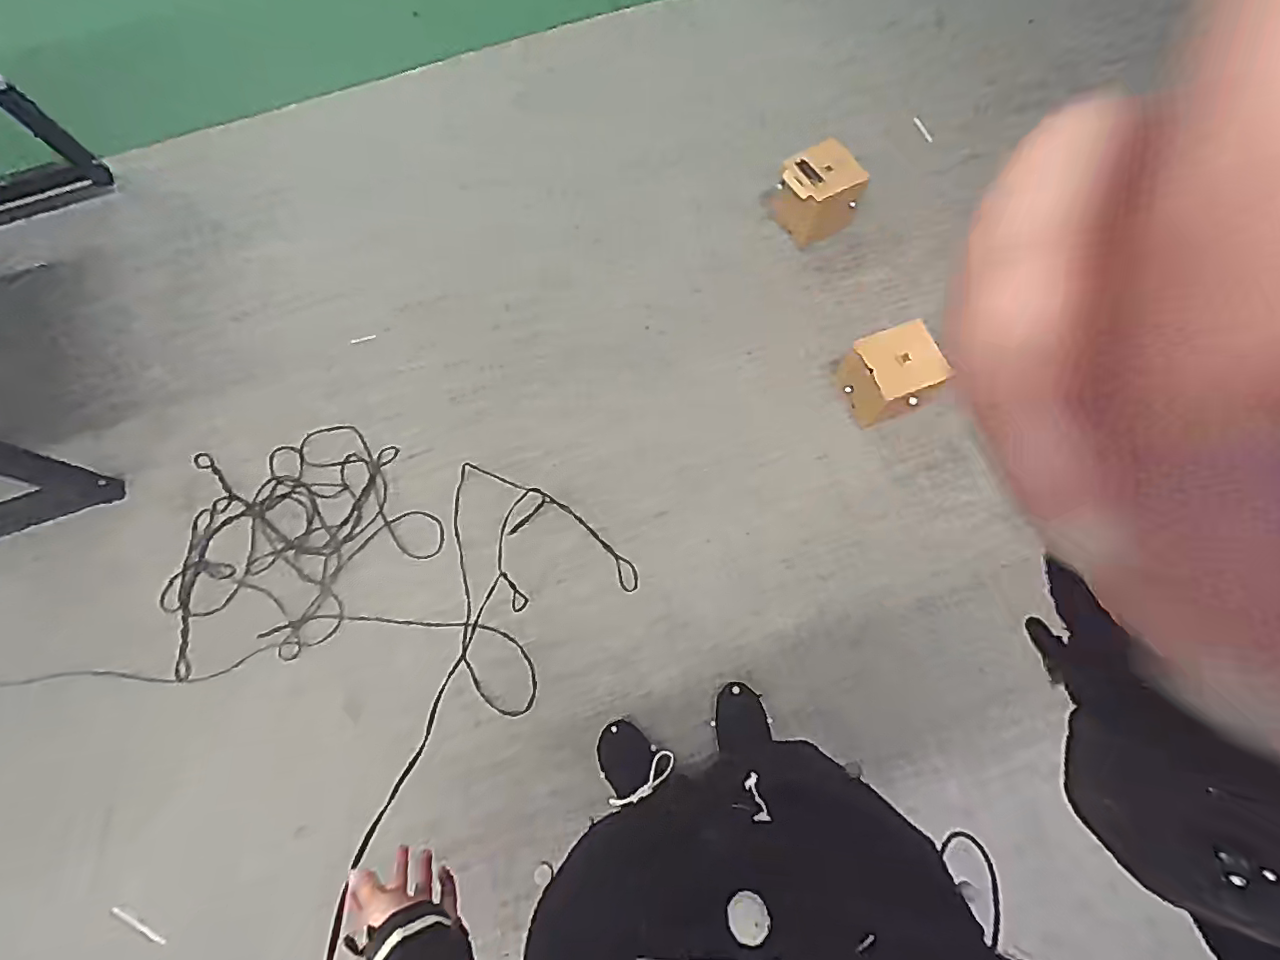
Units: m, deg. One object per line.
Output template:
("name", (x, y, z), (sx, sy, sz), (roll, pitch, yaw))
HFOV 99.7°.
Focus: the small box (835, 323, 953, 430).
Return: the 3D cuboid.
("small box", (0.609, -0.245, 1.320), (0.179, 0.176, 0.168), (-21, 72, -4))
